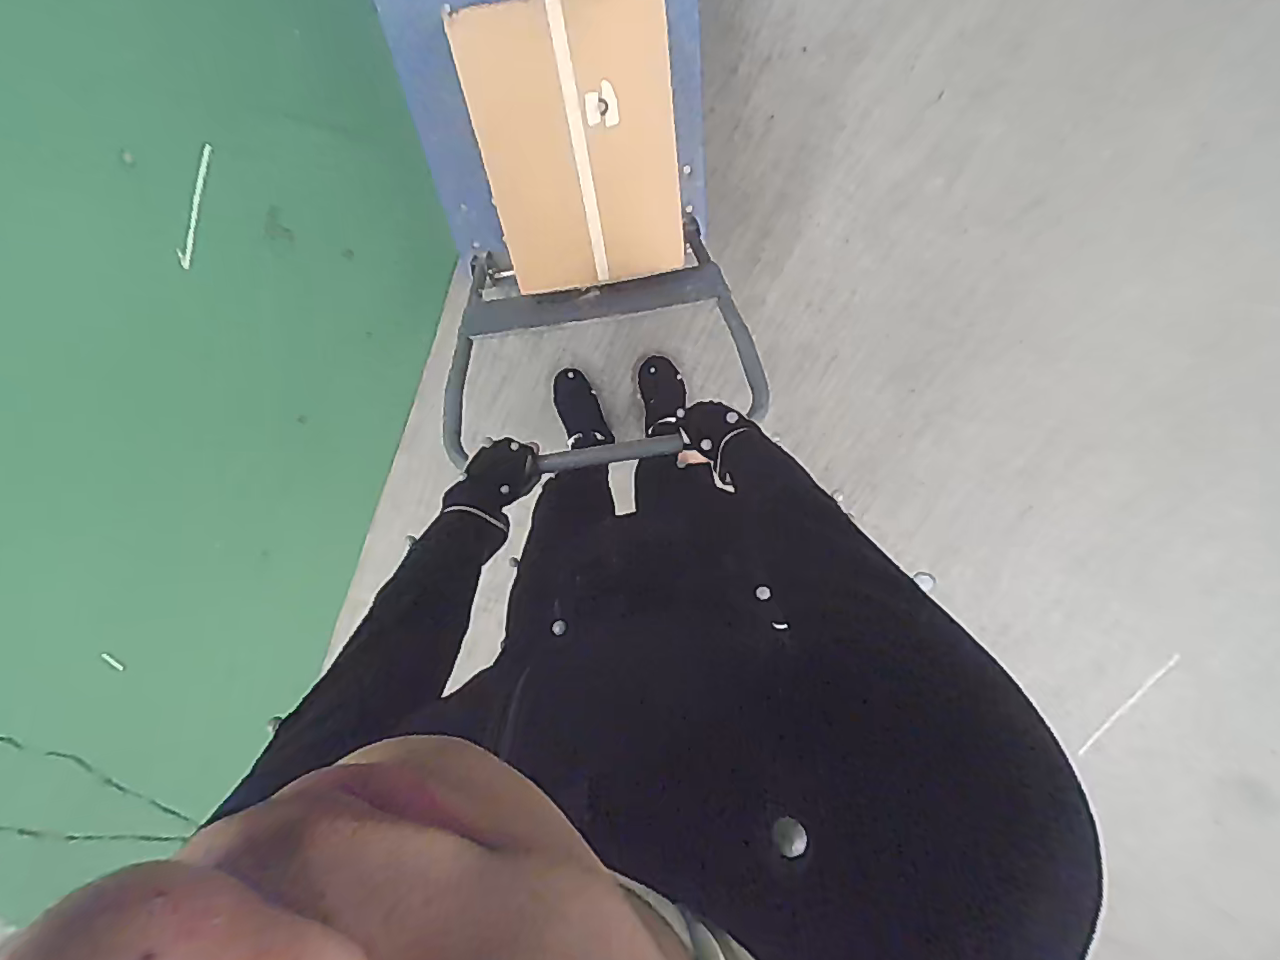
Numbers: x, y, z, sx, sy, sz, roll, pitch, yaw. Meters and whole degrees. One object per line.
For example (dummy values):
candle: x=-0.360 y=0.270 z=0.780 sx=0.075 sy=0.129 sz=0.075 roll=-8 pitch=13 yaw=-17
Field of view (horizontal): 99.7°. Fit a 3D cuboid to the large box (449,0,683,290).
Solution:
large box: x=-0.108 y=-0.625 z=1.009 sx=0.320 sy=0.320 sz=0.408 roll=-9 pitch=130 yaw=1
